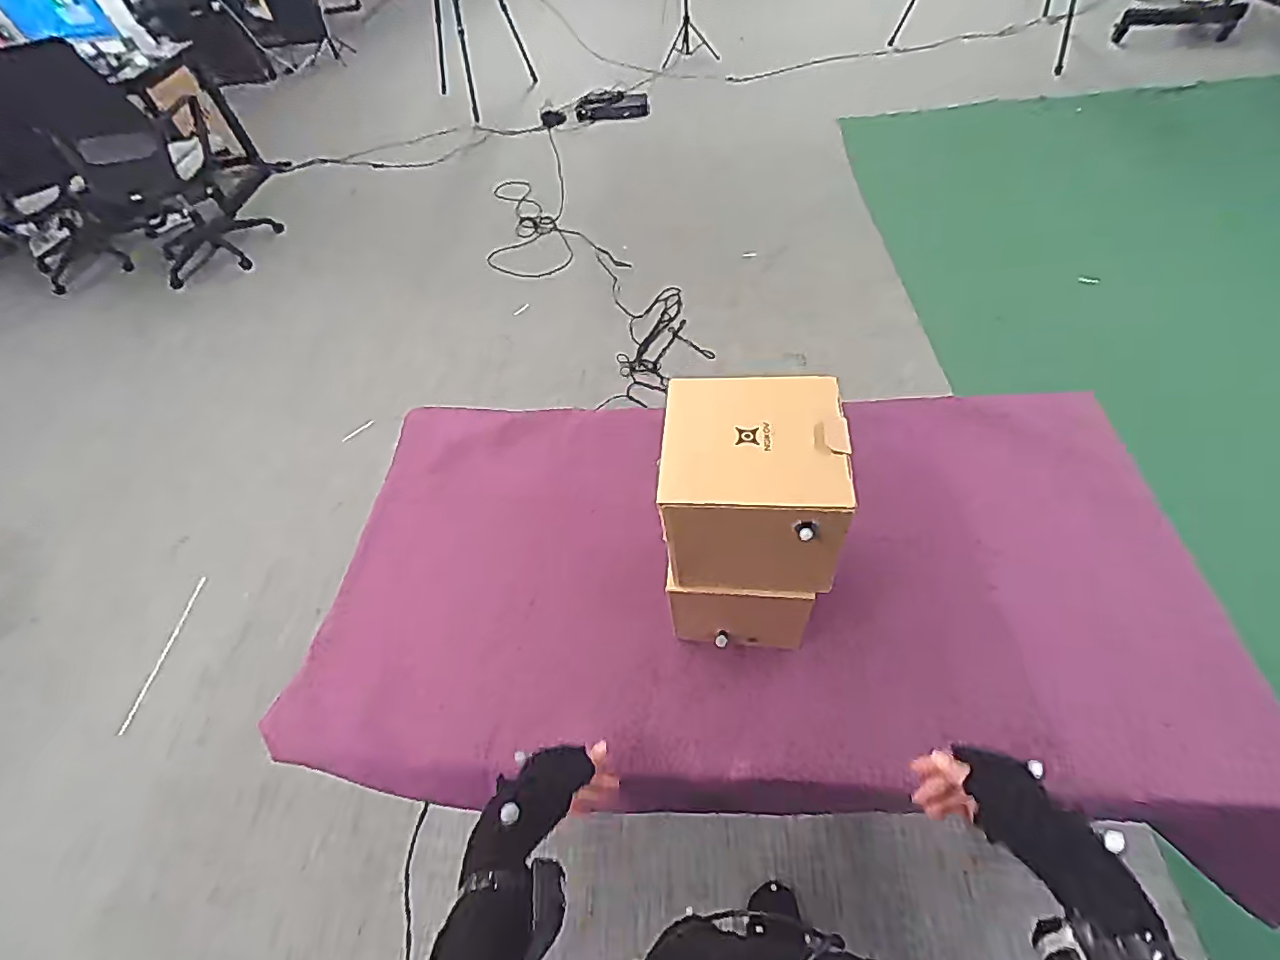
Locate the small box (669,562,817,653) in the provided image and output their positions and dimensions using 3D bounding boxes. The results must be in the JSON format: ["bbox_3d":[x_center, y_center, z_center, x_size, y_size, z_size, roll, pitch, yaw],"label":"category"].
[{"bbox_3d":[0.132,0.108,0.708,0.168,0.176,0.179,1,54,10],"label":"small box"}]

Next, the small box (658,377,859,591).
[{"bbox_3d":[0.121,0.009,0.580,0.179,0.176,0.168,0,54,9],"label":"small box"}]
